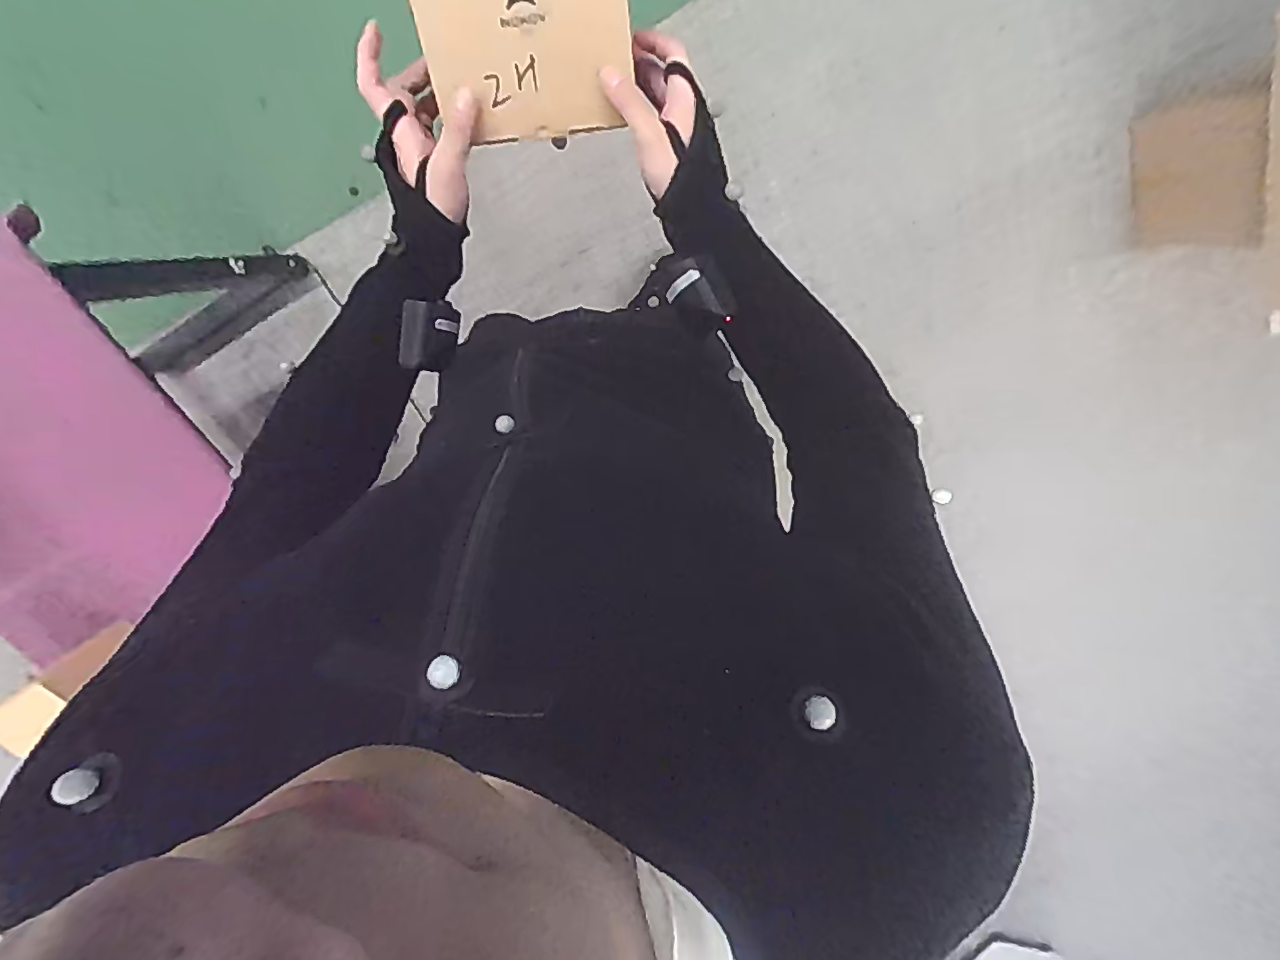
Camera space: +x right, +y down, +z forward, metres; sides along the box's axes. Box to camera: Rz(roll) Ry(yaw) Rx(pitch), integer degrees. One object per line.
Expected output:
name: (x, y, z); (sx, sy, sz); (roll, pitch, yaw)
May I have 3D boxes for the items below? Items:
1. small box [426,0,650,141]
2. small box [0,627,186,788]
small box: (-0.080, -0.407, 0.470); (0.168, 0.176, 0.179); (-4, 125, 3)
small box: (-0.988, 0.401, 0.970); (0.179, 0.176, 0.168); (-29, 111, 11)
